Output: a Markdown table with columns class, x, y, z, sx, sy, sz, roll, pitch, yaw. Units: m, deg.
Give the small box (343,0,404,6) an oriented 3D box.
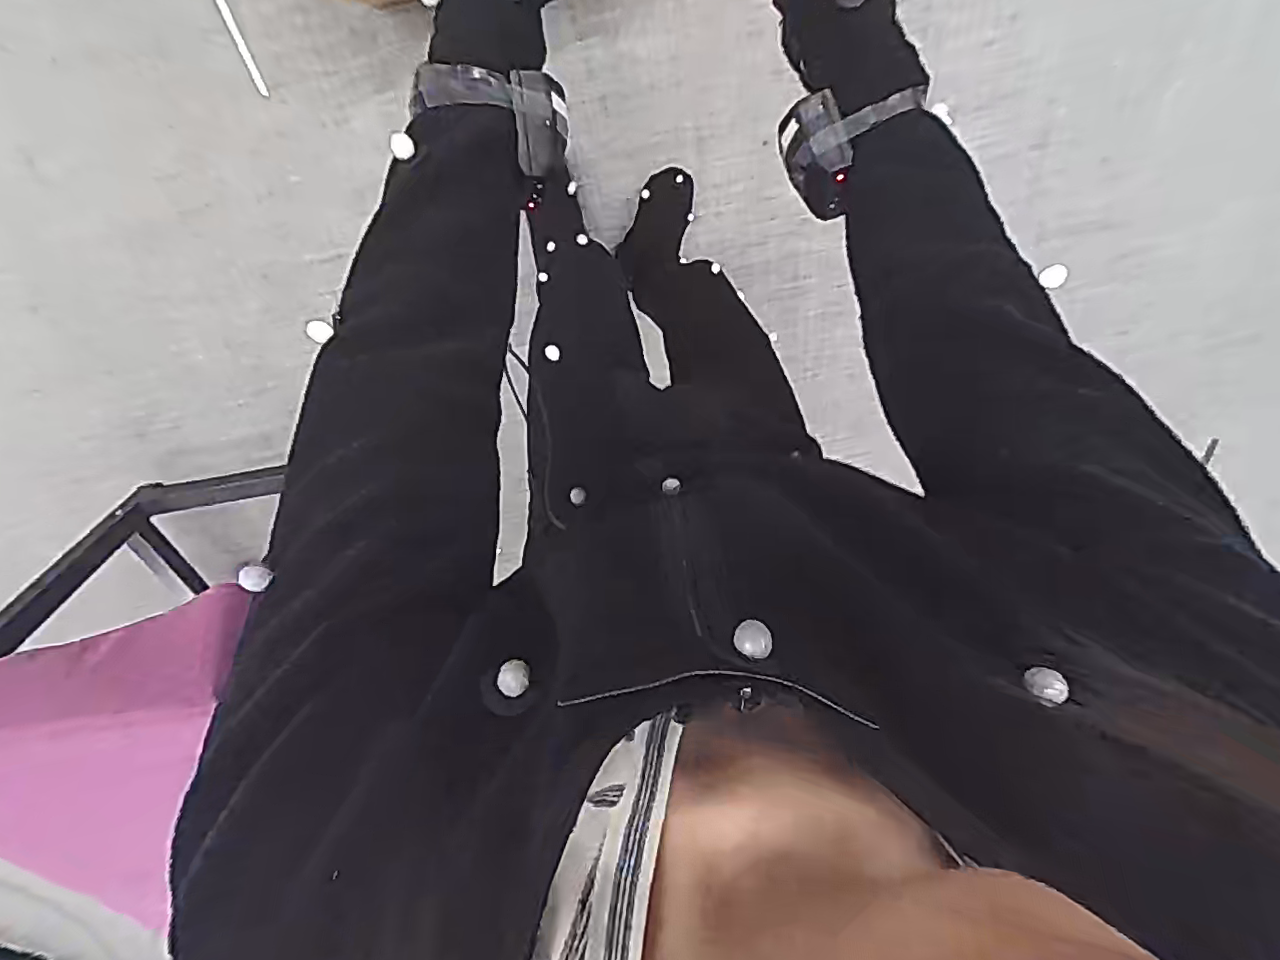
| class | x | y | z | sx | sy | sz | roll | pitch | yaw |
| --- | --- | --- | --- | --- | --- | --- | --- | --- | --- |
| small box | -0.376 | -0.816 | 0.780 | 0.168 | 0.176 | 0.179 | -13 | 126 | 1 |
